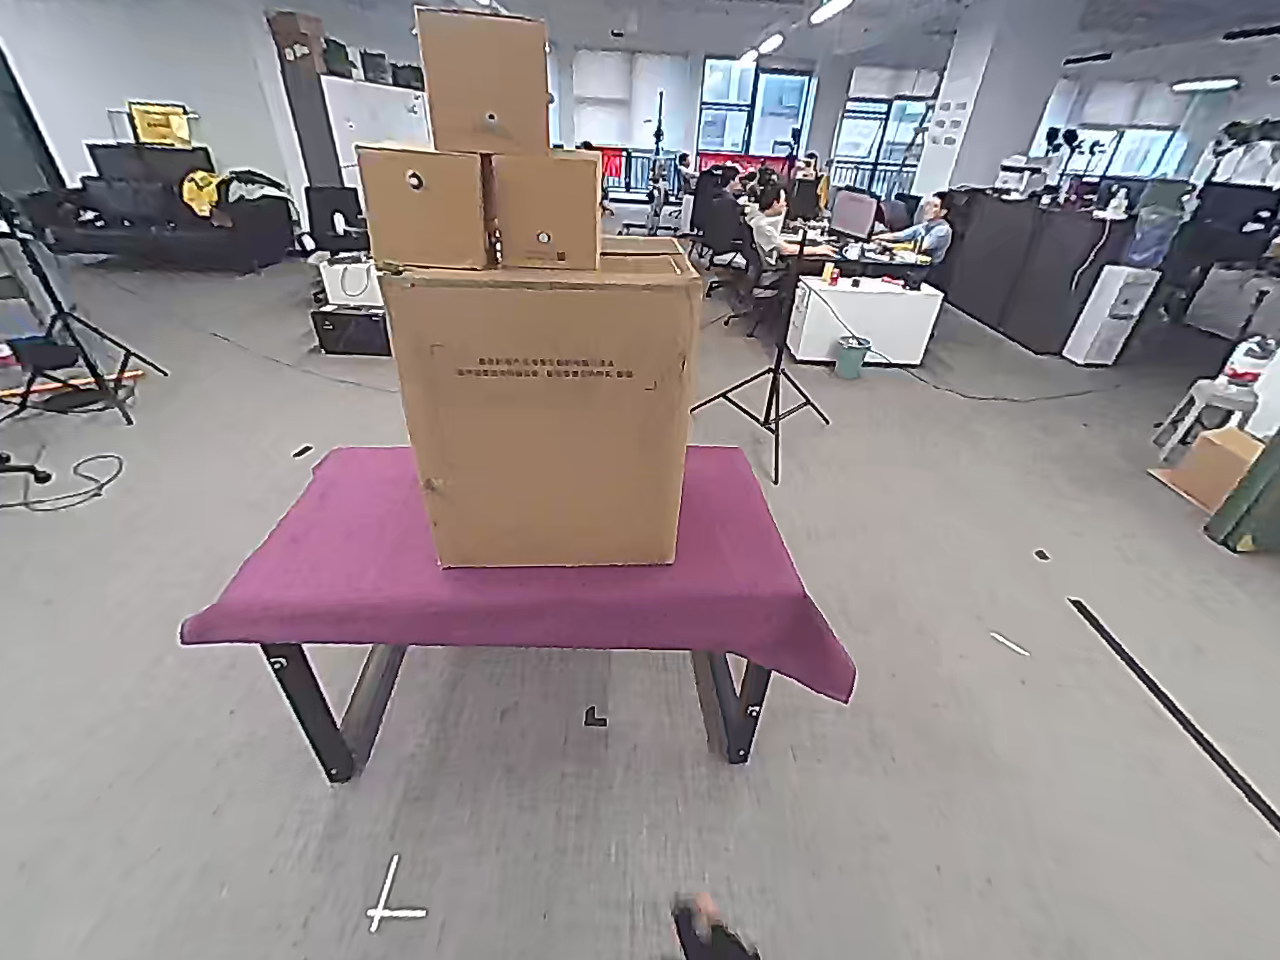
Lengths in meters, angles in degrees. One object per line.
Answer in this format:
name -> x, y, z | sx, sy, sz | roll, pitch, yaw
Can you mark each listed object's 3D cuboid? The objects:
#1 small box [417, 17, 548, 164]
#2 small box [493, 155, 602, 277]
small box -> -0.238, -0.601, 0.850 | 0.179, 0.176, 0.168 | -5, 35, -13
small box -> -0.153, -0.468, 0.951 | 0.168, 0.176, 0.179 | 1, 35, -2
